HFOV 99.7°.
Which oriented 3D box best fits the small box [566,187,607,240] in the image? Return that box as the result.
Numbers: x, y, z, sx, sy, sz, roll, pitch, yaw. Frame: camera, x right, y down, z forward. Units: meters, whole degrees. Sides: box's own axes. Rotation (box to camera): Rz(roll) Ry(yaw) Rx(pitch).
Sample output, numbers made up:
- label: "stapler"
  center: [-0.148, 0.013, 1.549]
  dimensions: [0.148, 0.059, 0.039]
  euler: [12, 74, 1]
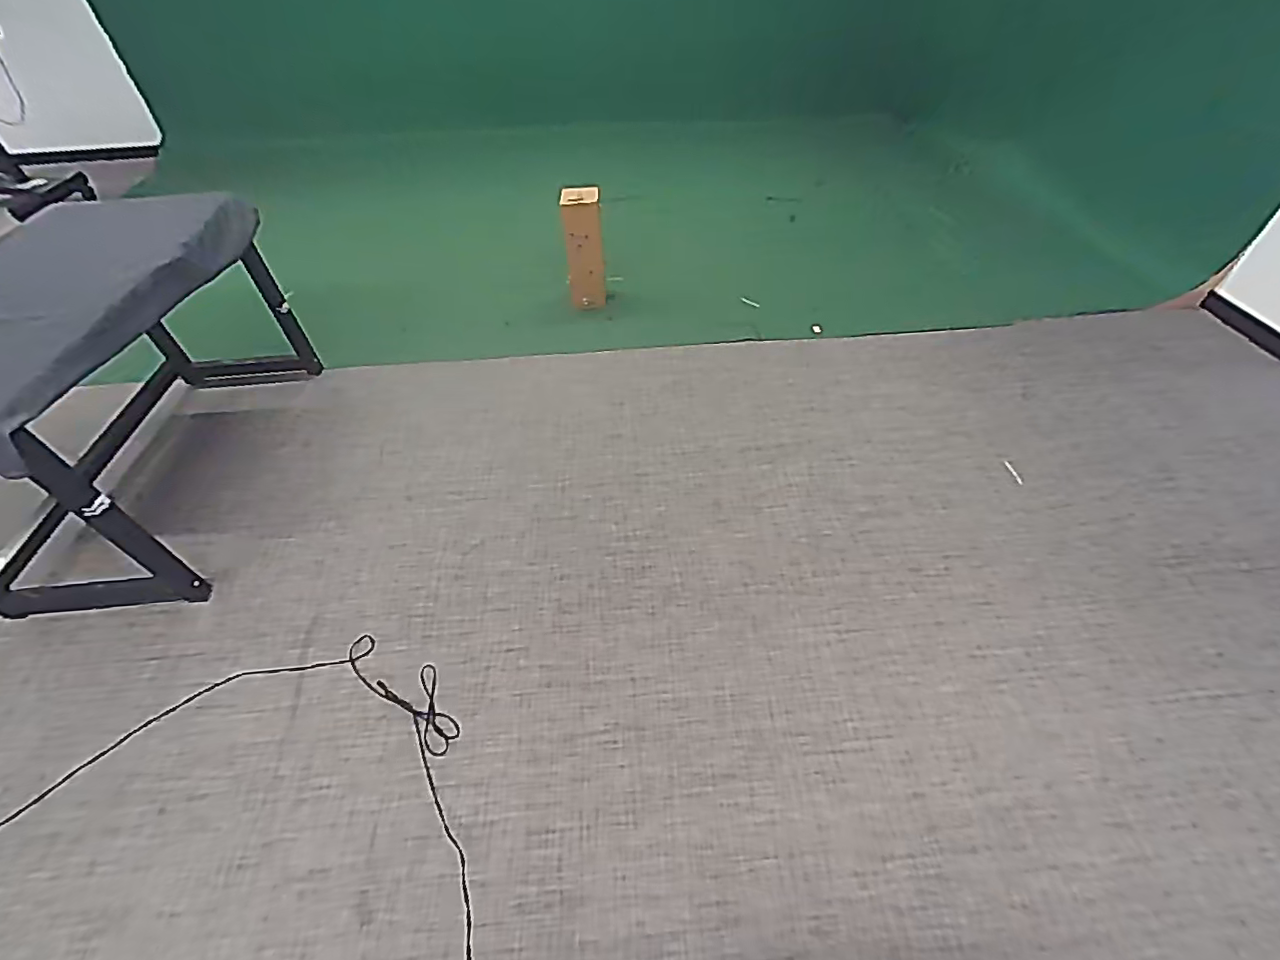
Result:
- label: "small box"
  center: [-0.239, -1.207, 2.456]
  dimensions: [0.168, 0.176, 0.179]
  euler: [-2, 47, 1]

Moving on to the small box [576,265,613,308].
- label: "small box"
  center: [-0.226, -0.980, 2.693]
  dimensions: [0.168, 0.176, 0.179]
  euler: [-3, 49, 1]

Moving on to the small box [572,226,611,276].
- label: "small box"
  center: [-0.229, -1.093, 2.574]
  dimensions: [0.168, 0.176, 0.179]
  euler: [-2, 47, 1]
